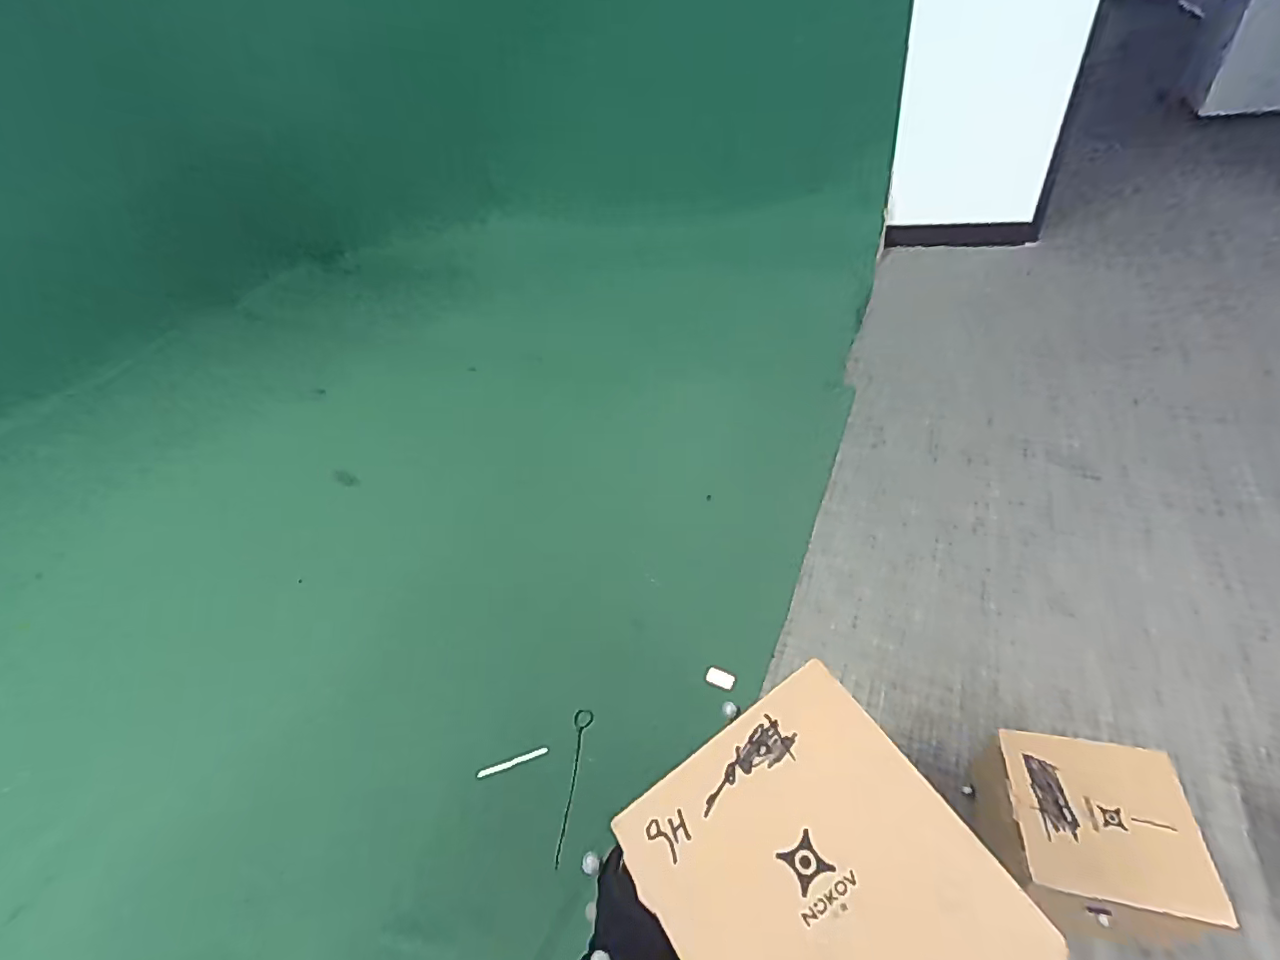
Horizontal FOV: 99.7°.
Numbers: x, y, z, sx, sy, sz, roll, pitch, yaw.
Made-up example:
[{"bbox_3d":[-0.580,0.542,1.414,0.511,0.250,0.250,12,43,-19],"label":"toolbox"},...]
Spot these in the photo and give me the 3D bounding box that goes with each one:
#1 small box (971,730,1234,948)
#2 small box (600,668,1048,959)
[{"bbox_3d":[0.517,0.427,0.646,0.179,0.176,0.168,3,45,16],"label":"small box"},{"bbox_3d":[0.103,0.255,0.357,0.168,0.176,0.179,-34,60,-7],"label":"small box"}]
